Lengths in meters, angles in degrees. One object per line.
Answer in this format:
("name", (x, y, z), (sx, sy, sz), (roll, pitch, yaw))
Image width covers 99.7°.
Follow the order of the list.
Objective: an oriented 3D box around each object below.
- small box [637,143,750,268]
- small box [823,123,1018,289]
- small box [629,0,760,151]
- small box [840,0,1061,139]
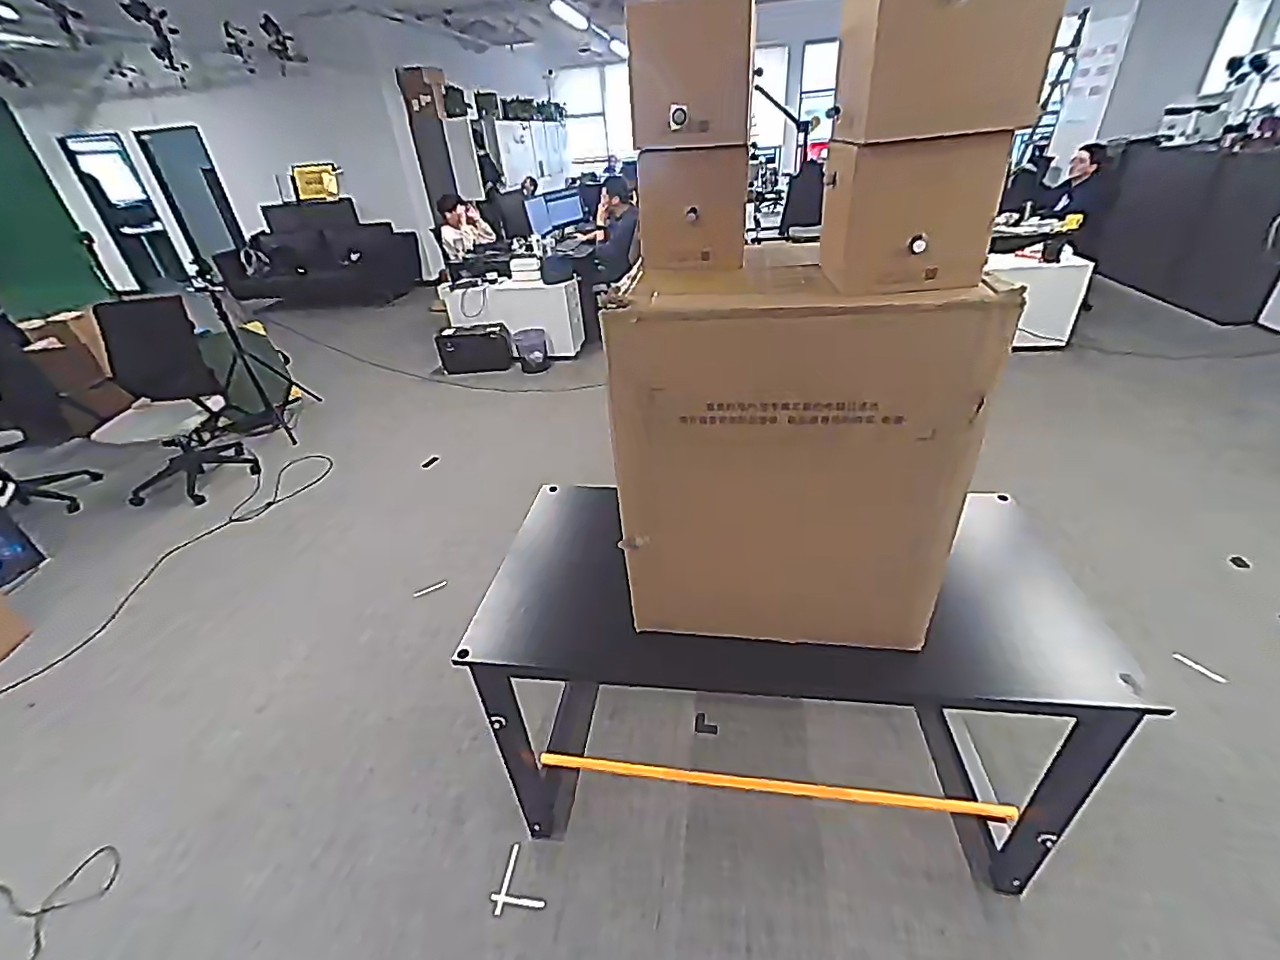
("small box", (0.094, -0.451, 0.887), (0.168, 0.176, 0.179), (2, 33, 9))
("small box", (0.340, -0.354, 0.700), (0.168, 0.176, 0.179), (-2, 33, 8))
("small box", (0.085, -0.580, 0.786), (0.168, 0.176, 0.179), (2, 33, 11))
("small box", (0.326, -0.479, 0.591), (0.179, 0.176, 0.168), (-2, 34, 6))
